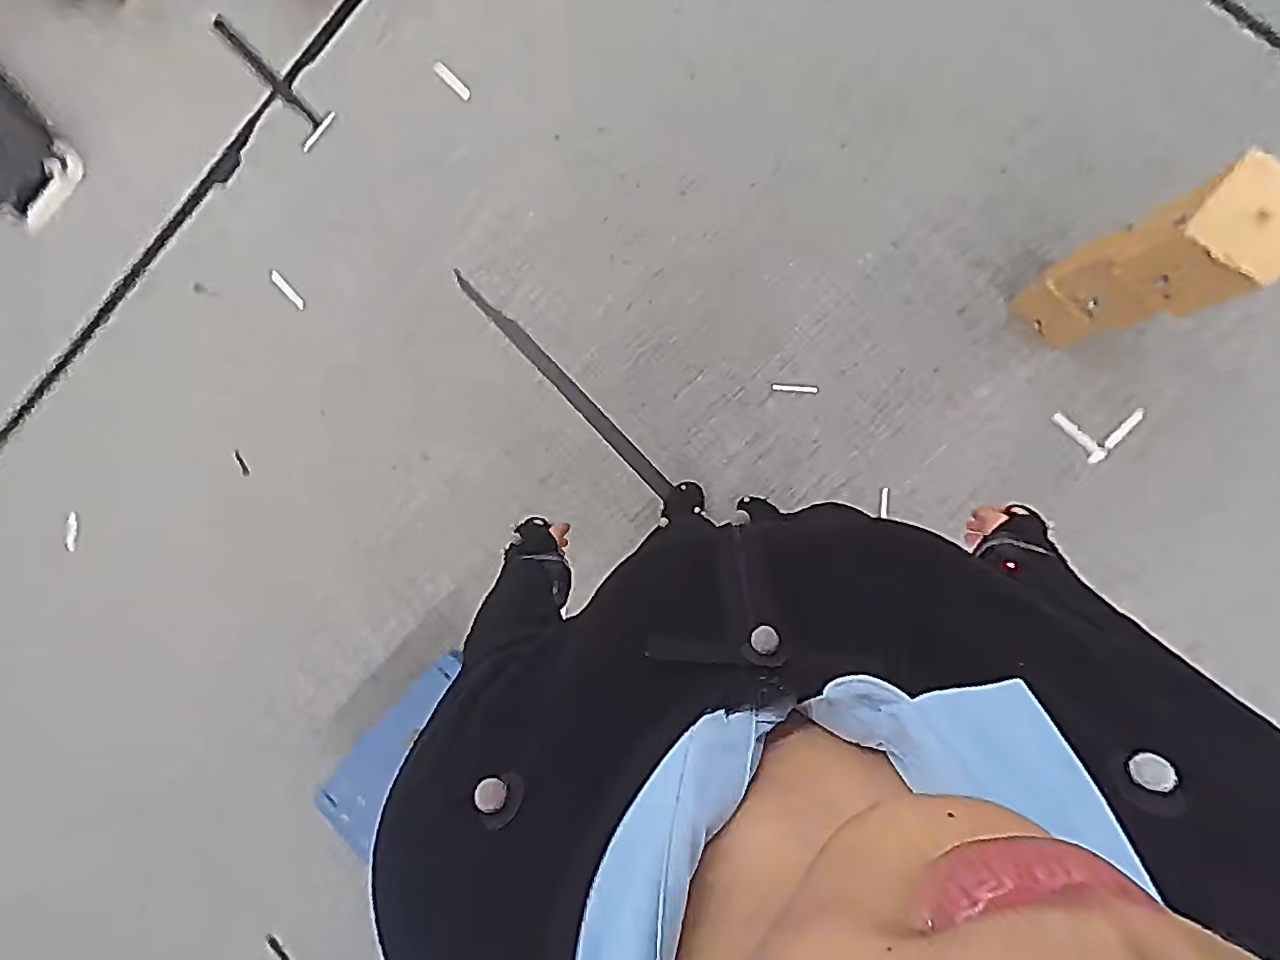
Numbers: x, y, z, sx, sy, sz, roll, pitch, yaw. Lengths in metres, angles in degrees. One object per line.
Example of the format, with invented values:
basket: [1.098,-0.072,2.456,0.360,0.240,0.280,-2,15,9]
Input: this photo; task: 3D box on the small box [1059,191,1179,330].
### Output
small box: [1.045,-0.448,1.132,0.179,0.176,0.168,-41,84,6]

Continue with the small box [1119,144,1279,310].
small box: [1.033,-0.440,0.969,0.168,0.176,0.179,38,95,6]
